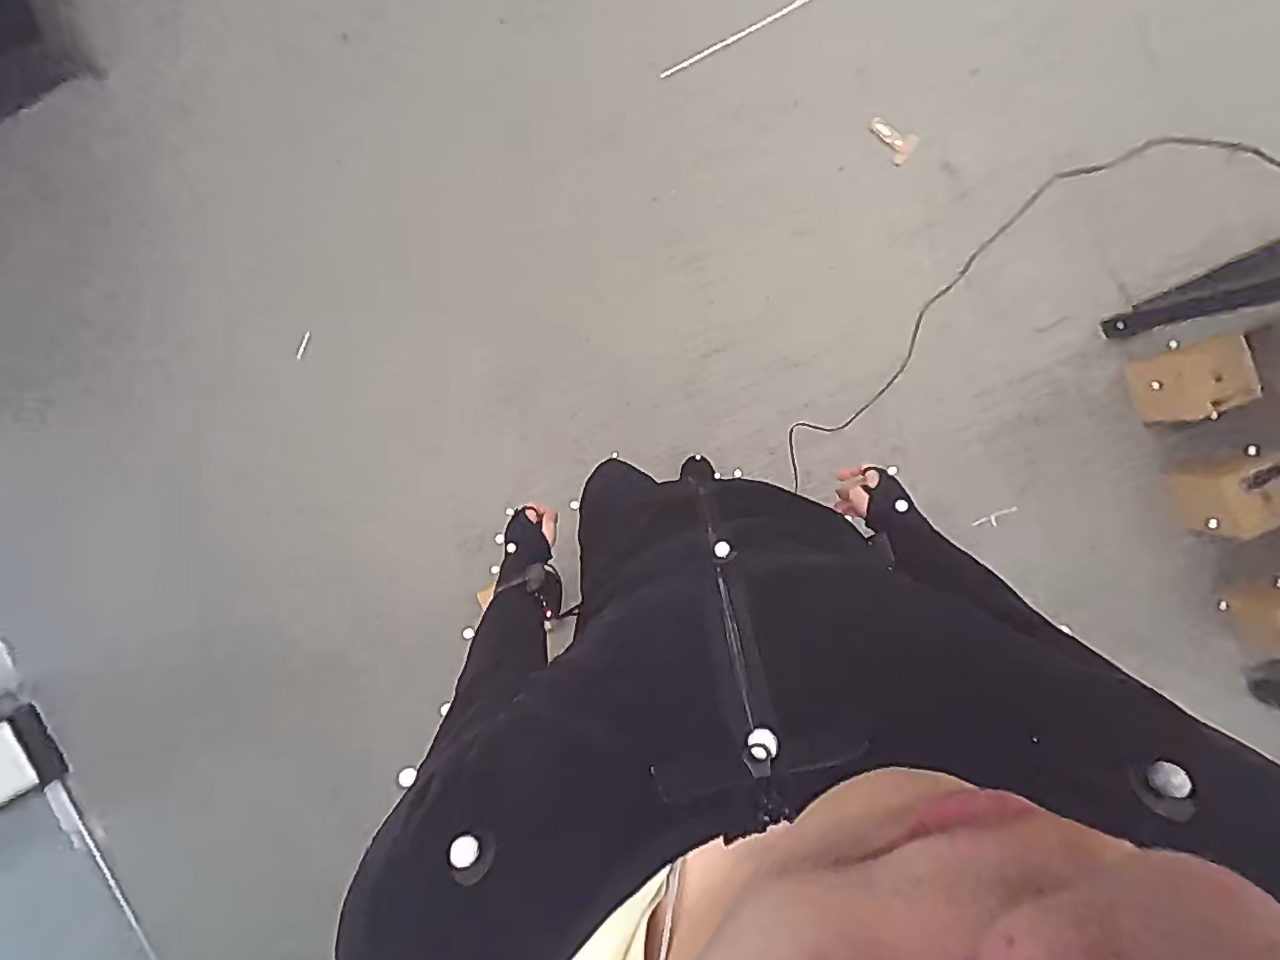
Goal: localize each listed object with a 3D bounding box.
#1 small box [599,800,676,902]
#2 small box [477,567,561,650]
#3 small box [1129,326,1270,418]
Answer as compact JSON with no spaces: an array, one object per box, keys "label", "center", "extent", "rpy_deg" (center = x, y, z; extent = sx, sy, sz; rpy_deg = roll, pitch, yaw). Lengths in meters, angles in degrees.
[{"label":"small box","center":[-0.002,1.112,1.635],"extent":[0.179,0.176,0.168],"rpy_deg":[-25,93,8]},{"label":"small box","center":[-0.345,0.370,1.592],"extent":[0.179,0.176,0.168],"rpy_deg":[-20,93,6]},{"label":"small box","center":[1.422,-0.269,1.389],"extent":[0.168,0.176,0.179],"rpy_deg":[-22,92,6]}]
